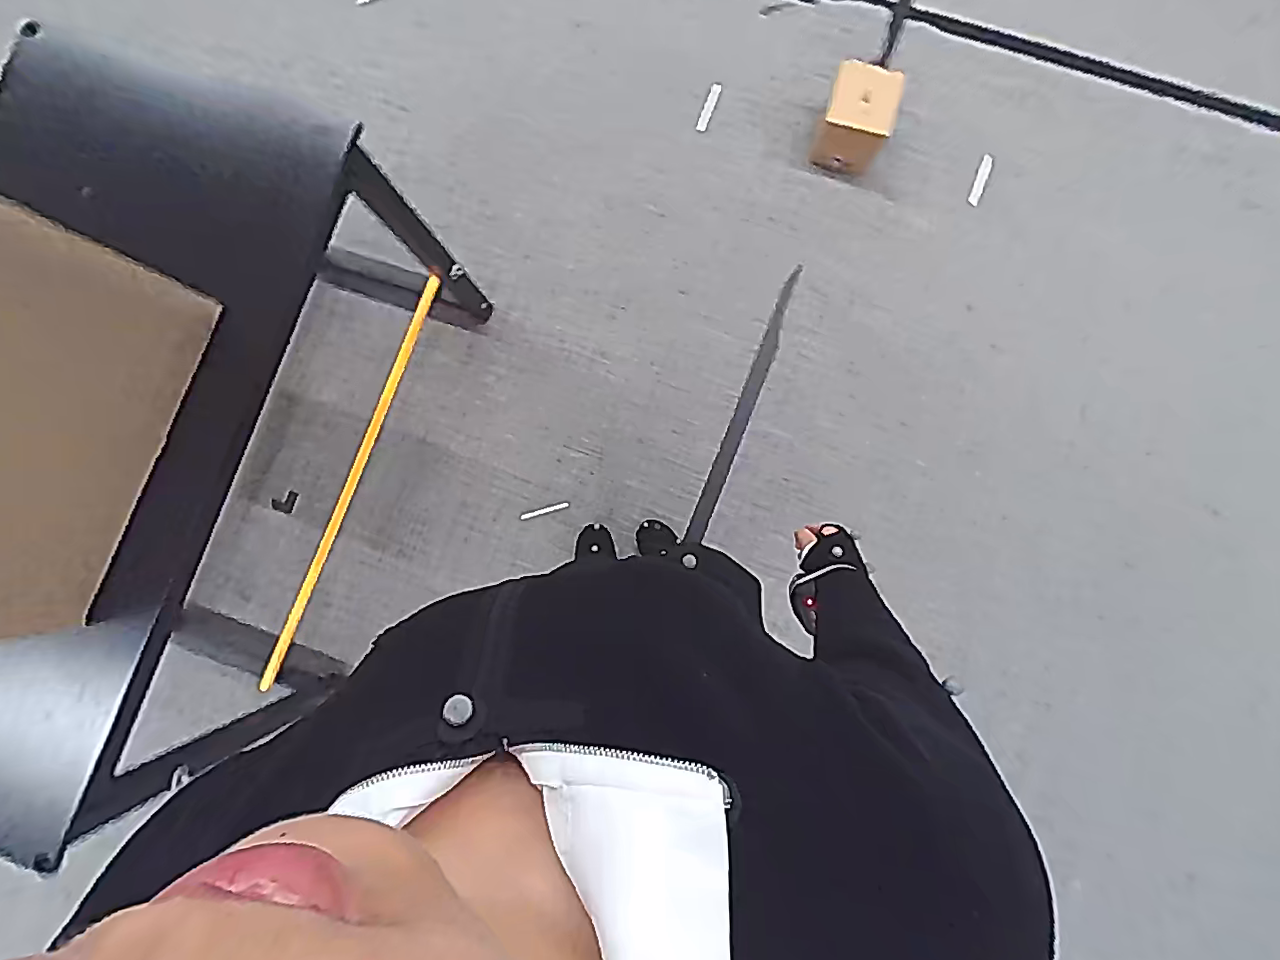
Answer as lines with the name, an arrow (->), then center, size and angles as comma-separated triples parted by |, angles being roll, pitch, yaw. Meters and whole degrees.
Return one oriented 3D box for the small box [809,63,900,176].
small box -> 0.576, -0.976, 1.474 | 0.168, 0.176, 0.179 | 16, 88, 4
